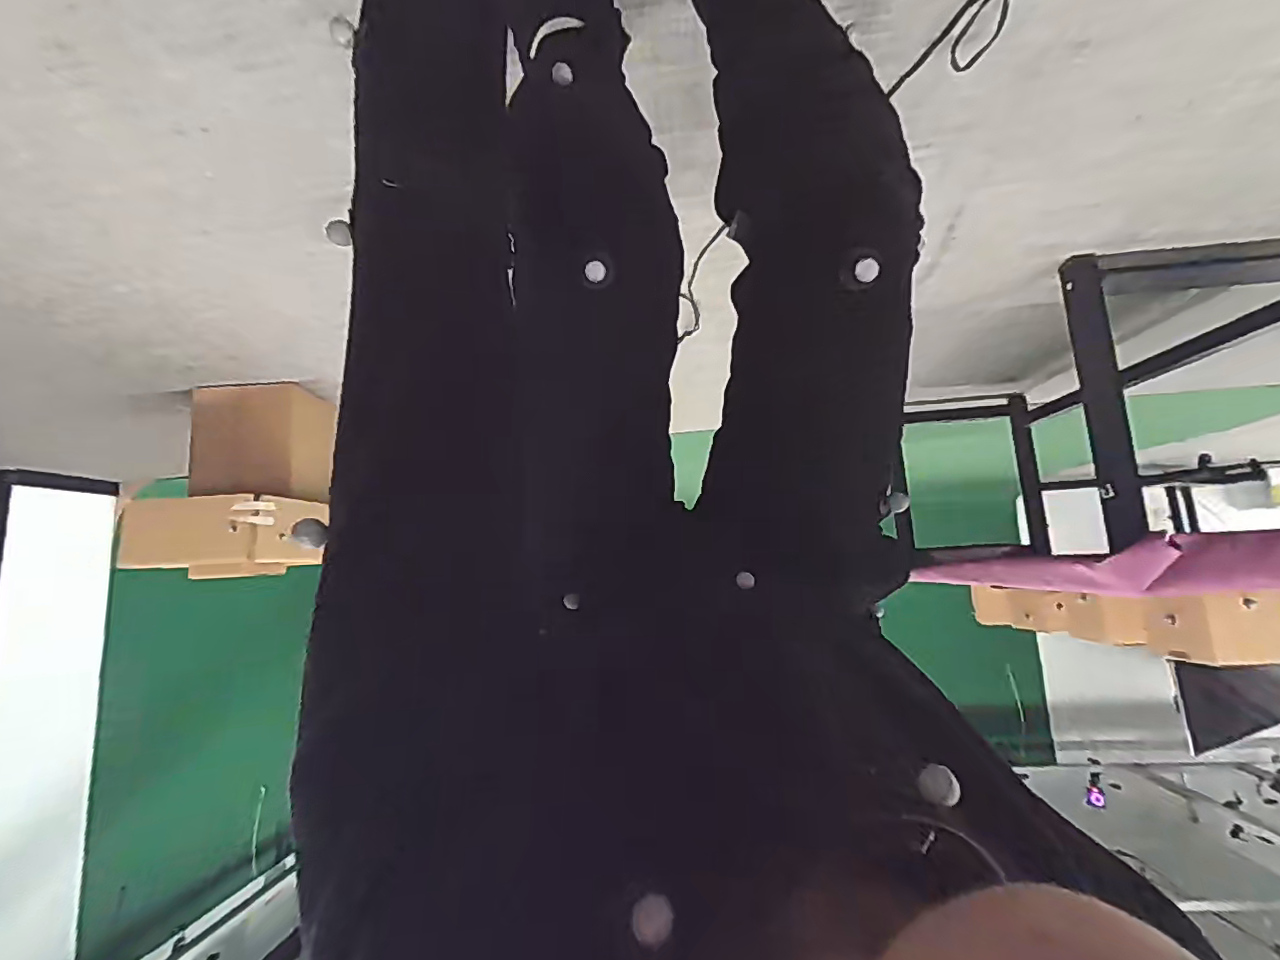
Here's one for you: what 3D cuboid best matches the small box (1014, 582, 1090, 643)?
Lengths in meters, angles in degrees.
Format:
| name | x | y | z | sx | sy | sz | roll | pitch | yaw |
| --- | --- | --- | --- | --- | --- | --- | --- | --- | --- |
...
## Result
| name | x | y | z | sx | sy | sz | roll | pitch | yaw |
| --- | --- | --- | --- | --- | --- | --- | --- | --- | --- |
| small box | 1.318 | 0.412 | 1.703 | 0.168 | 0.176 | 0.179 | -2 | 170 | 1 |

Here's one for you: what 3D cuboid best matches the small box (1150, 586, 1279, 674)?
| name | x | y | z | sx | sy | sz | roll | pitch | yaw |
| --- | --- | --- | --- | --- | --- | --- | --- | --- | --- |
| small box | 1.282 | 0.323 | 1.184 | 0.179 | 0.176 | 0.168 | -3 | 170 | 3 |

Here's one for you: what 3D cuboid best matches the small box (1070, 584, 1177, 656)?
| name | x | y | z | sx | sy | sz | roll | pitch | yaw |
| --- | --- | --- | --- | --- | --- | --- | --- | --- | --- |
| small box | 1.305 | 0.368 | 1.447 | 0.179 | 0.176 | 0.168 | -4 | 170 | 9 |

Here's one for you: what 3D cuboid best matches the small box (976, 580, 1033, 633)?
| name | x | y | z | sx | sy | sz | roll | pitch | yaw |
| --- | --- | --- | --- | --- | --- | --- | --- | --- | --- |
| small box | 1.331 | 0.457 | 1.957 | 0.168 | 0.176 | 0.179 | -8 | 169 | 25 |
